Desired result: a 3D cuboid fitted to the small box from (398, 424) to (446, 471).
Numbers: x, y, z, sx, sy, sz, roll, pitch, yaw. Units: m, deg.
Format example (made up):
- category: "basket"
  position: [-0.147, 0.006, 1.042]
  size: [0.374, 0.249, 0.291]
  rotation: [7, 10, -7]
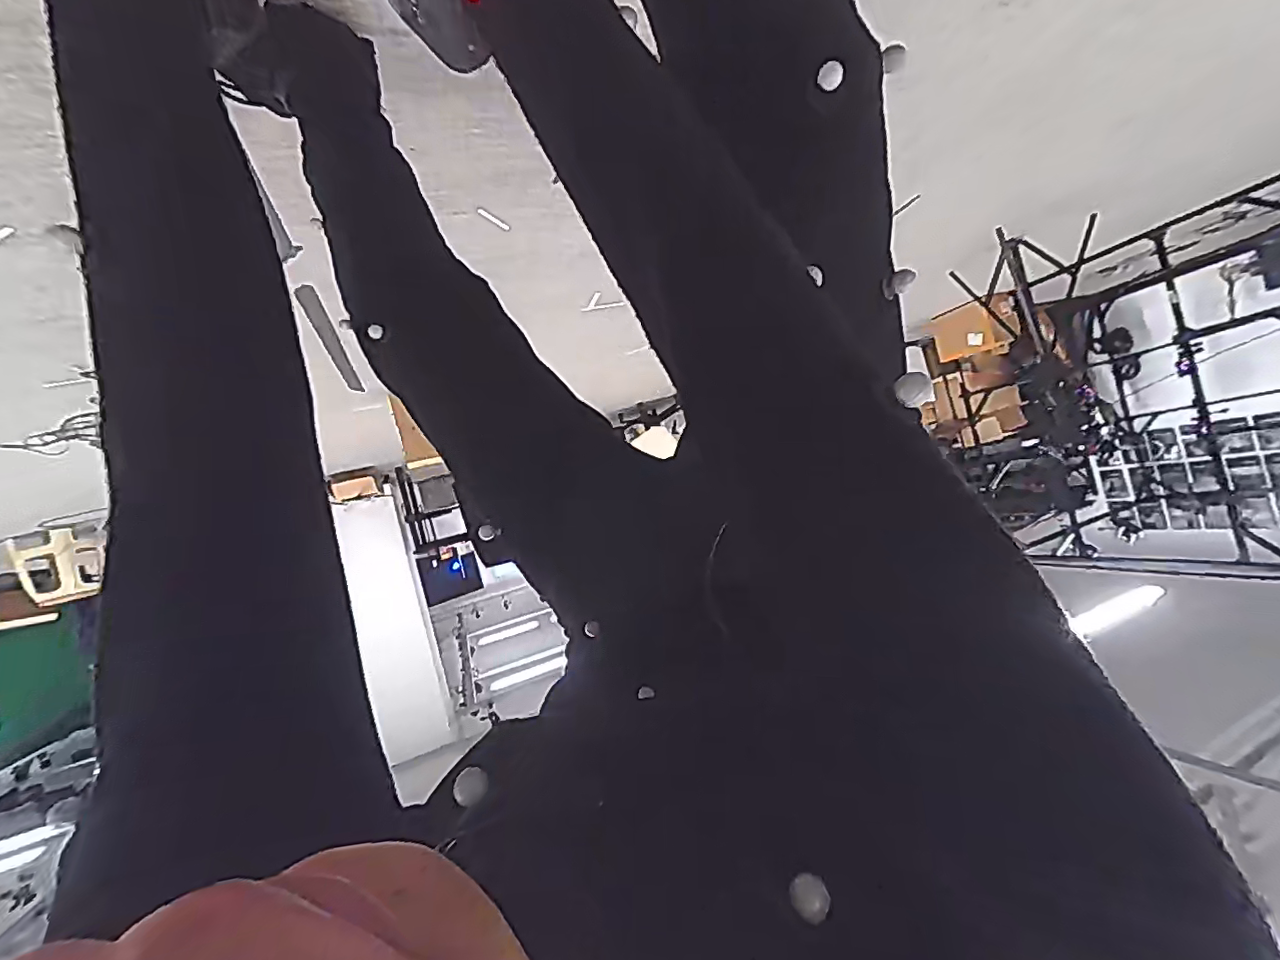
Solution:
- category: "small box"
  position: [-0.980, -0.147, 2.428]
  size: [0.168, 0.176, 0.179]
  rotation: [-15, 178, -22]
